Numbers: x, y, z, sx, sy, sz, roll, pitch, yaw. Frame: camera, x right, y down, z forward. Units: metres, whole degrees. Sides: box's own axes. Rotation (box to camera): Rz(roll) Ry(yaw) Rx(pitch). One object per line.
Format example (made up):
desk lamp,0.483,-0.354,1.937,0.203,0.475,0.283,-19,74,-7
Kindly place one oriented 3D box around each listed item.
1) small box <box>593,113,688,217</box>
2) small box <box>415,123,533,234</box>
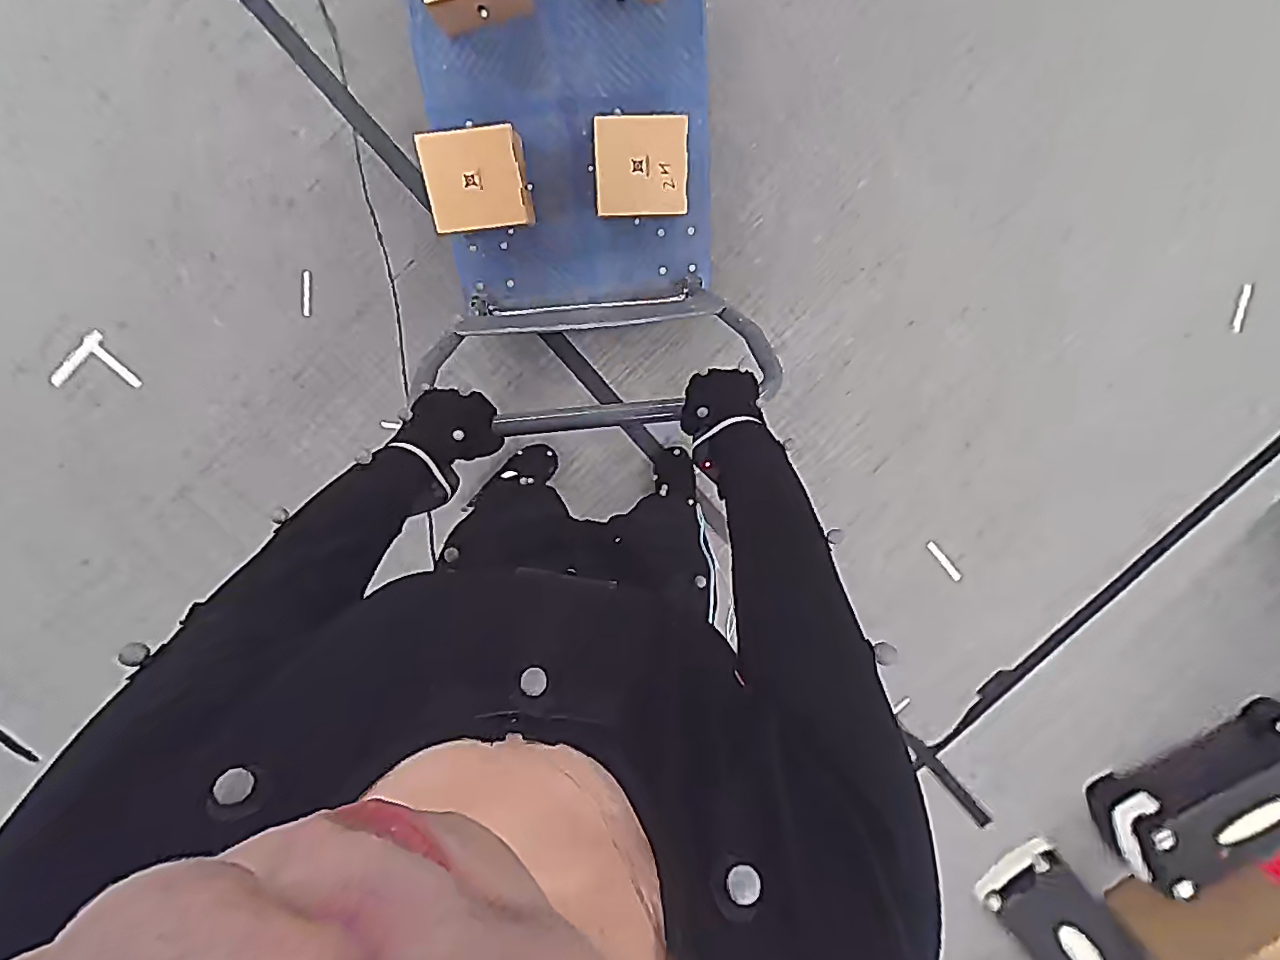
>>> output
small box,-0.002,-0.623,1.085,0.179,0.176,0.168,-3,115,-4
small box,-0.317,-0.587,1.072,0.179,0.176,0.168,-9,114,-3
